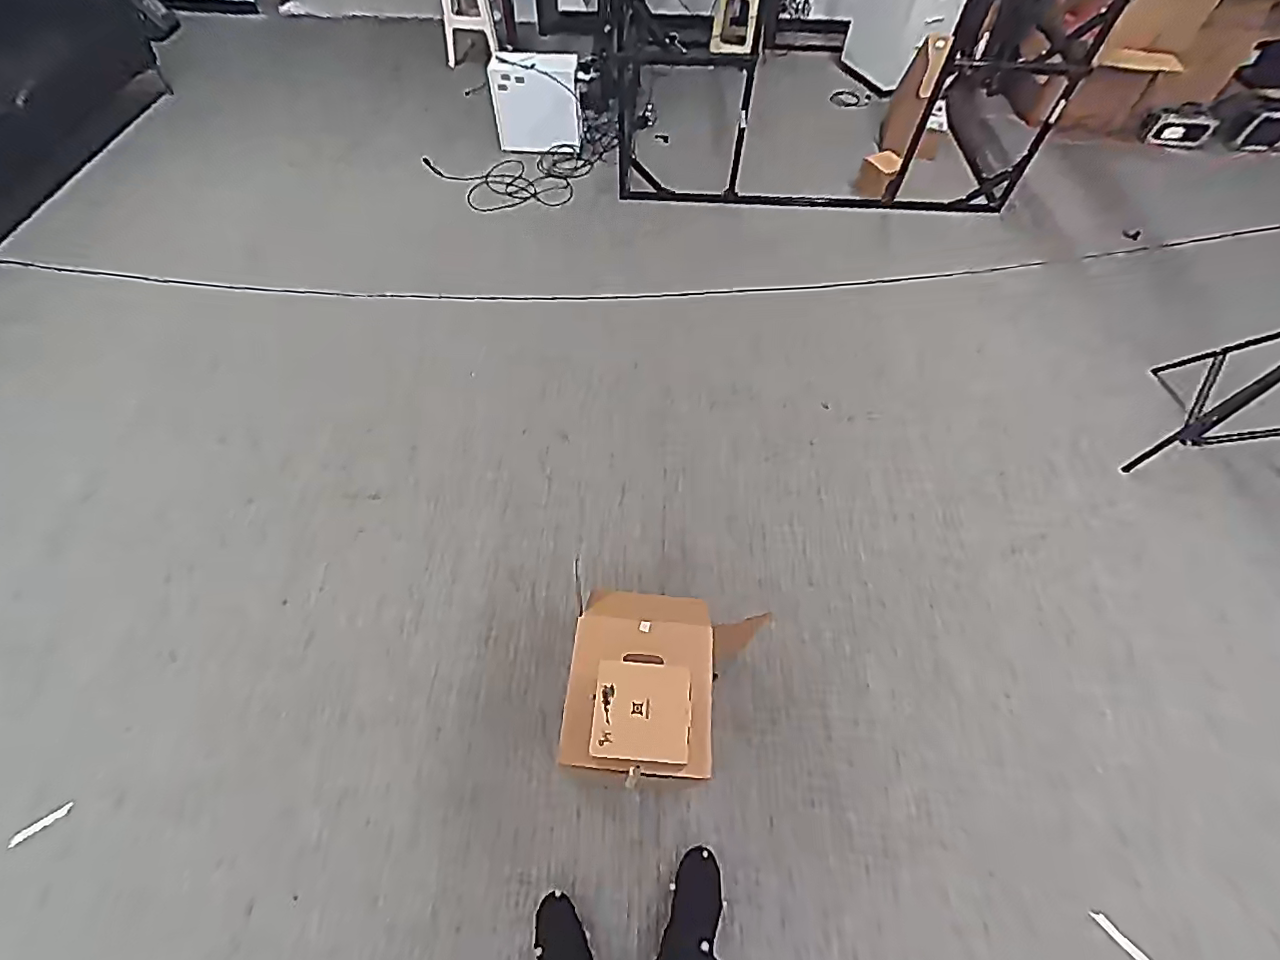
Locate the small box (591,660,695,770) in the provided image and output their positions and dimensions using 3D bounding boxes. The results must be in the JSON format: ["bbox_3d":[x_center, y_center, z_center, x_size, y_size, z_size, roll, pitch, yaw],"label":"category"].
[{"bbox_3d":[0.006,0.455,1.038,0.179,0.176,0.168,5,58,1],"label":"small box"}]
